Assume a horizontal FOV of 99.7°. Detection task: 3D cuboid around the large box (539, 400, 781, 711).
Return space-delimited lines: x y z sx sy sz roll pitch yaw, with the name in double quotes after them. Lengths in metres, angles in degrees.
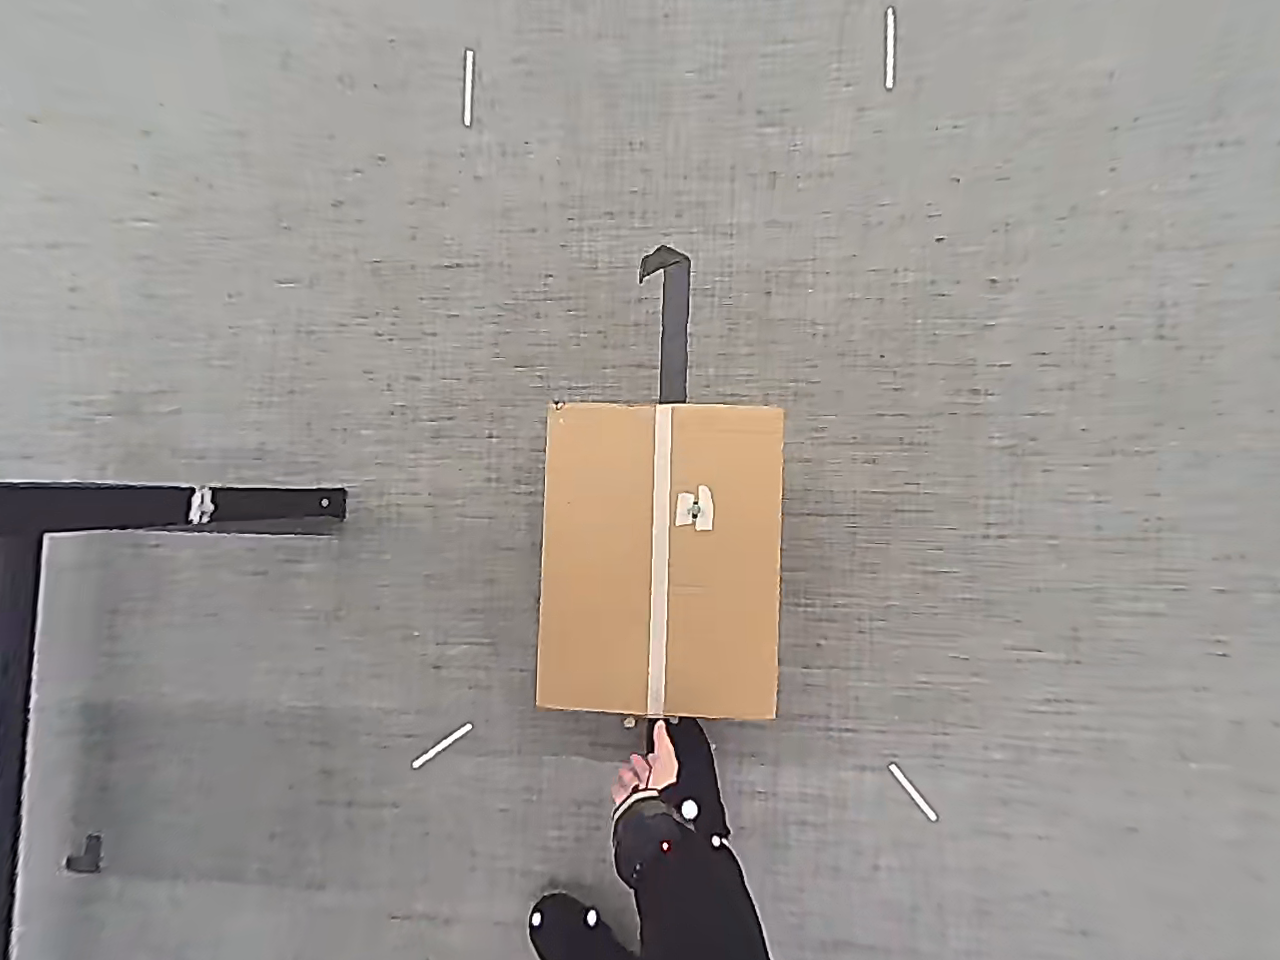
0.037 0.103 0.852 0.320 0.320 0.408 2 87 4 "large box"
